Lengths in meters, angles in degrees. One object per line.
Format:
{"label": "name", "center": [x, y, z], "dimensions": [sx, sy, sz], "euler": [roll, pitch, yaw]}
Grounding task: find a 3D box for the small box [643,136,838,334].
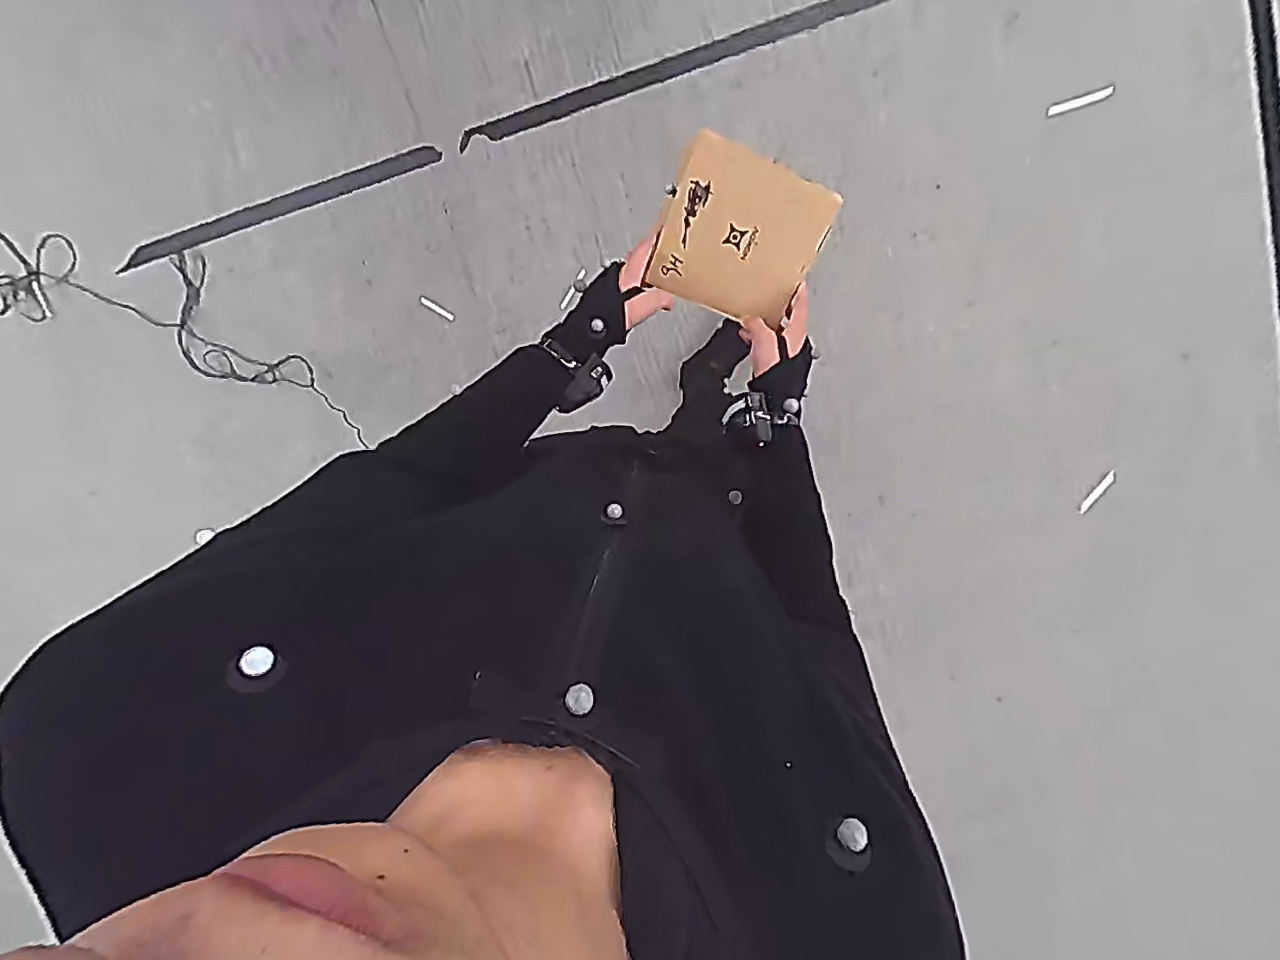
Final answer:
{"label": "small box", "center": [0.113, -0.315, 0.694], "dimensions": [0.179, 0.176, 0.168], "euler": [19, 118, -11]}
